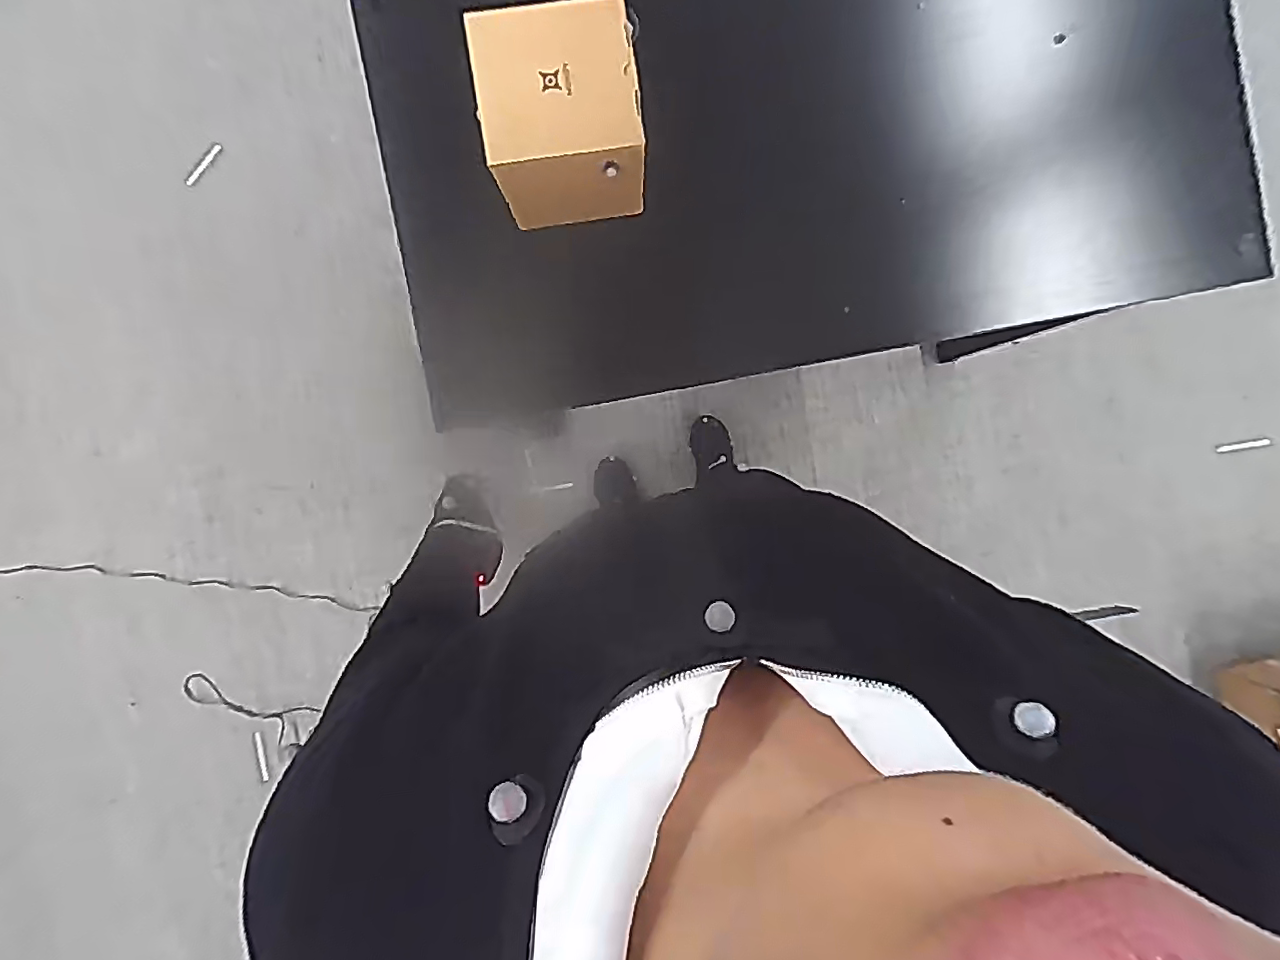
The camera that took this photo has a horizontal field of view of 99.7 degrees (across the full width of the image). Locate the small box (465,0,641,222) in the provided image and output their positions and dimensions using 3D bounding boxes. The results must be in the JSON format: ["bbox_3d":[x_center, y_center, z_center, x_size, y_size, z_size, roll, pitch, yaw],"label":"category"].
[{"bbox_3d":[-0.097,-0.444,0.674,0.179,0.176,0.168,-9,92,-2],"label":"small box"}]
